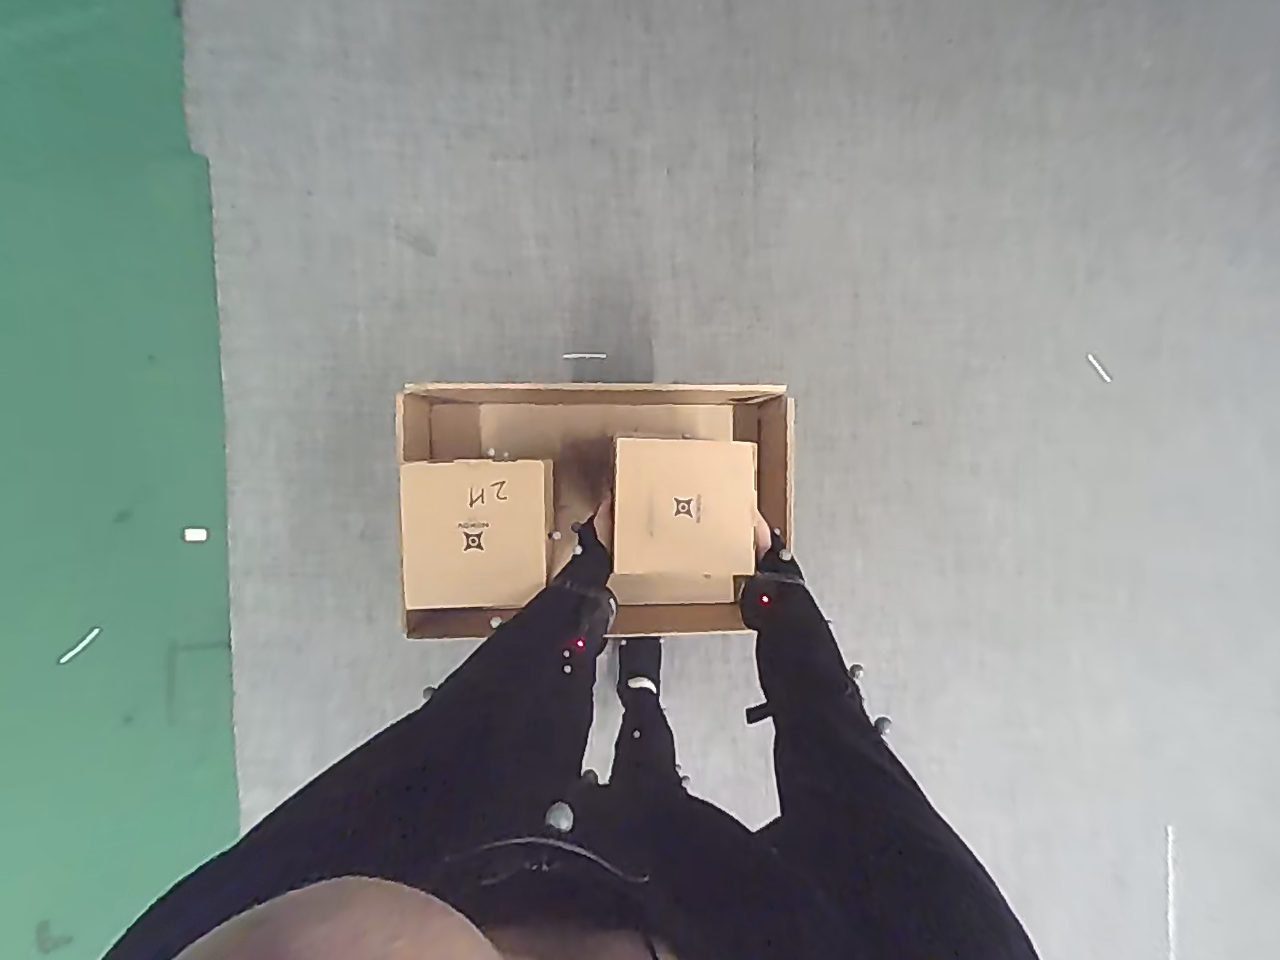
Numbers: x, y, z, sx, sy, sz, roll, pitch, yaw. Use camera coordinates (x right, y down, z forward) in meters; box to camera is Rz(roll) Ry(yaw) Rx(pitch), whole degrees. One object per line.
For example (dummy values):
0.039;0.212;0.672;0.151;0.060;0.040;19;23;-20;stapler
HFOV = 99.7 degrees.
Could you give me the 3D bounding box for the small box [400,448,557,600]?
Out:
-0.197;0.047;0.703;0.168;0.176;0.179;0;93;-4;small box
